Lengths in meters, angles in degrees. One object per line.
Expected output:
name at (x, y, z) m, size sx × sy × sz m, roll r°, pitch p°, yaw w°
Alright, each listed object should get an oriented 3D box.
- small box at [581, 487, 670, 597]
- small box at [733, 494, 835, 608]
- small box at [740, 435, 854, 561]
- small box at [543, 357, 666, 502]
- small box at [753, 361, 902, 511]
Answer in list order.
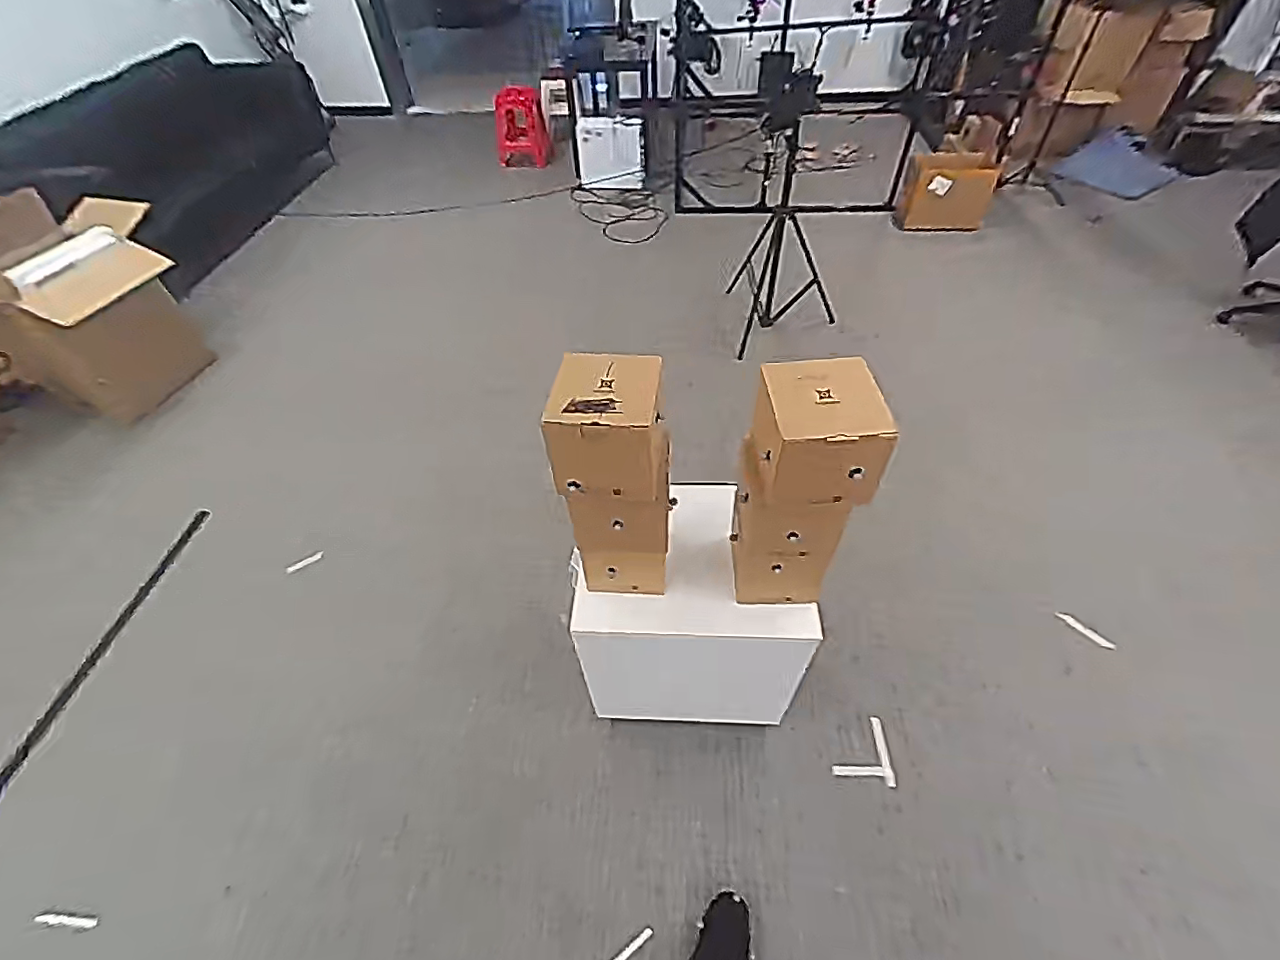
small box at (-0.023, 0.131, 1.142) m, size 0.168 × 0.176 × 0.179 m, roll 2°, pitch 49°, yaw 4°
small box at (0.284, 0.143, 1.109) m, size 0.168 × 0.176 × 0.179 m, roll -2°, pitch 49°, yaw 4°
small box at (0.275, 0.035, 0.985) m, size 0.168 × 0.176 × 0.179 m, roll -1°, pitch 49°, yaw 4°
small box at (-0.046, -0.081, 0.891) m, size 0.168 × 0.176 × 0.179 m, roll 4°, pitch 48°, yaw 7°
small box at (0.280, -0.063, 0.853) m, size 0.168 × 0.176 × 0.179 m, roll -4°, pitch 49°, yaw 0°
